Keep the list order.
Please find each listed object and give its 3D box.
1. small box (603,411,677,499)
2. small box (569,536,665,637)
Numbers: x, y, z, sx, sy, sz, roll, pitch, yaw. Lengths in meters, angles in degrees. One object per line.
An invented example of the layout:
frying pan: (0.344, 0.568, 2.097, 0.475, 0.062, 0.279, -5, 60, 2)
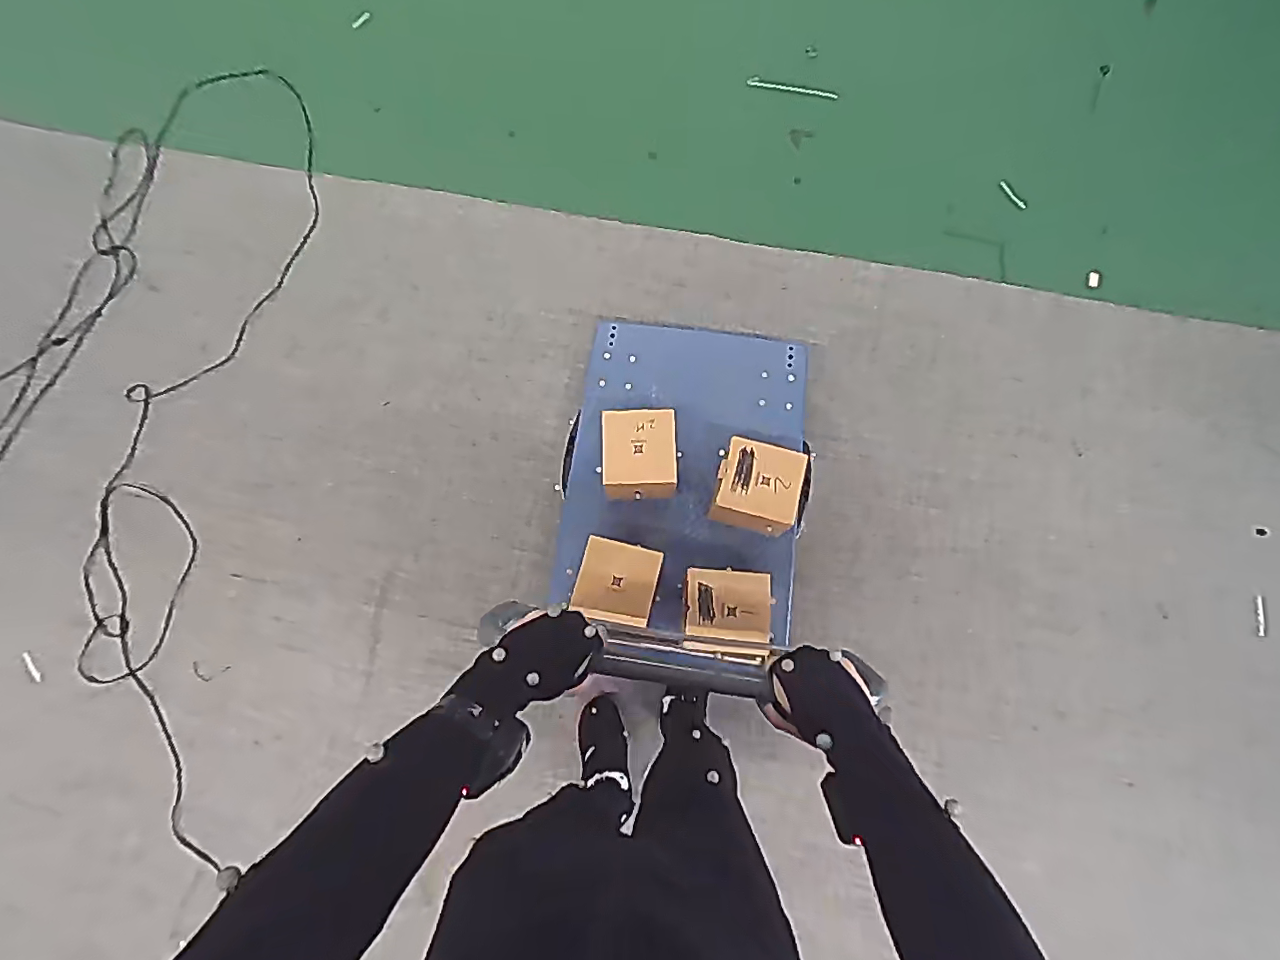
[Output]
small box: (0.001, -0.052, 1.281, 0.168, 0.176, 0.179, -1, 76, 0)
small box: (-0.048, 0.240, 1.206, 0.168, 0.176, 0.179, 14, 76, 4)
